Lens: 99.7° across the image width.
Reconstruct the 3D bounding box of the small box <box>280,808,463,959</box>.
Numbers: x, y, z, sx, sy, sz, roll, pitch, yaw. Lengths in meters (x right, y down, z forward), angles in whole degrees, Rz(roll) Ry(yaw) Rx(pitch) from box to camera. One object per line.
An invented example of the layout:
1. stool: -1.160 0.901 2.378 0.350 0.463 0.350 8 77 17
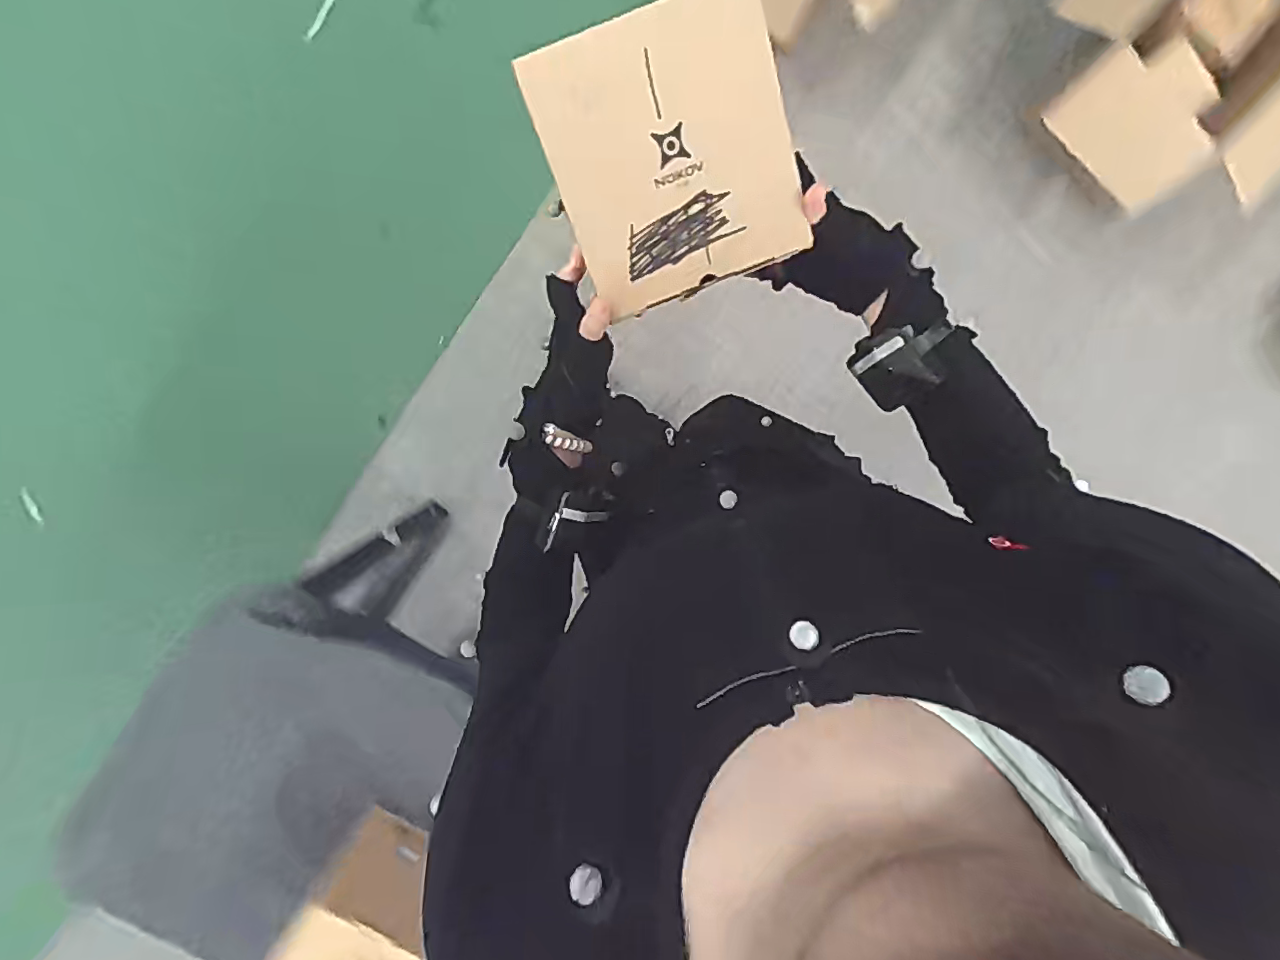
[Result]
1. small box: -0.385 0.634 0.786 0.168 0.176 0.179 32 98 -6
